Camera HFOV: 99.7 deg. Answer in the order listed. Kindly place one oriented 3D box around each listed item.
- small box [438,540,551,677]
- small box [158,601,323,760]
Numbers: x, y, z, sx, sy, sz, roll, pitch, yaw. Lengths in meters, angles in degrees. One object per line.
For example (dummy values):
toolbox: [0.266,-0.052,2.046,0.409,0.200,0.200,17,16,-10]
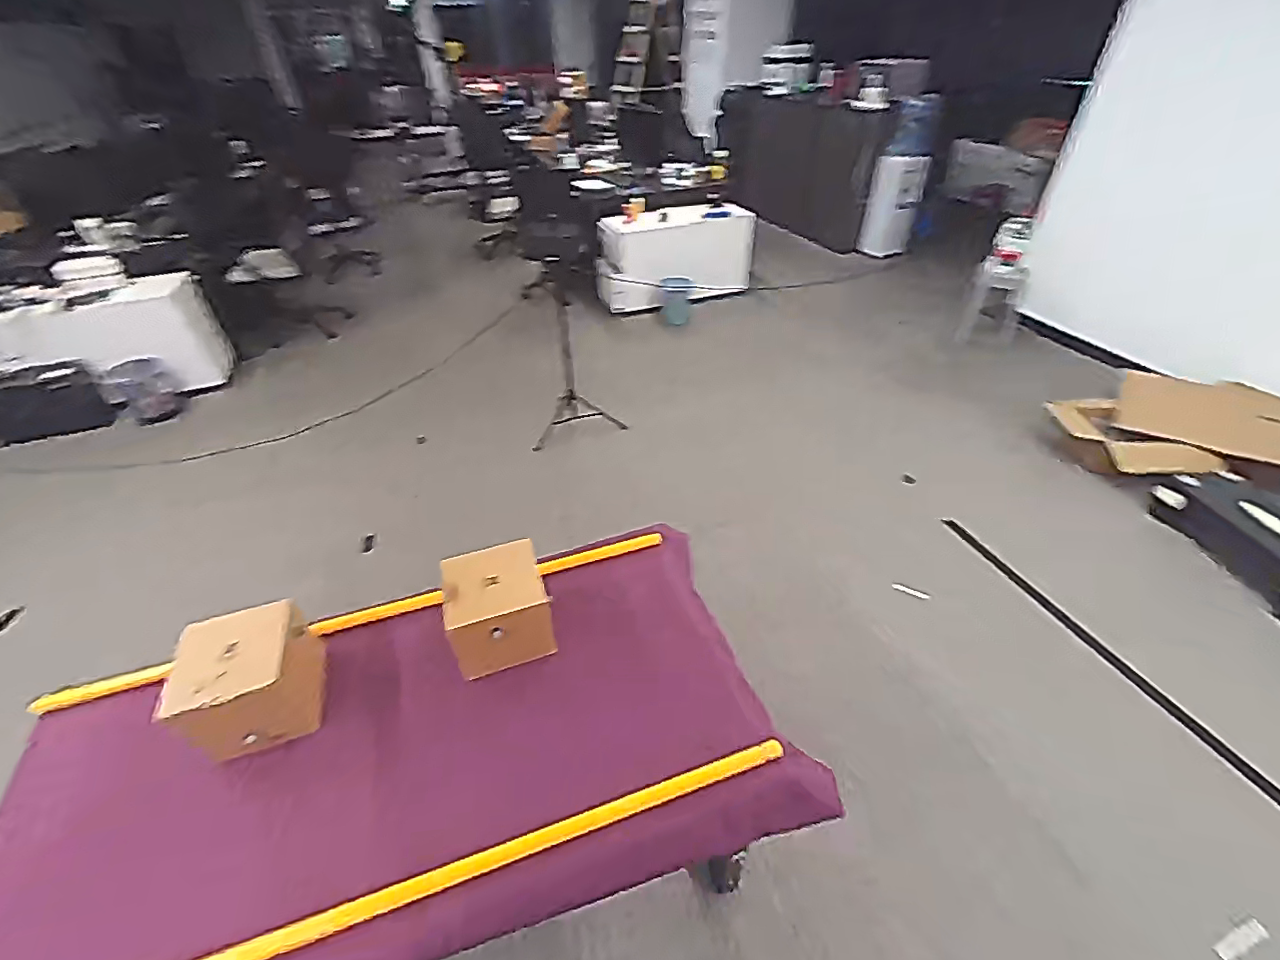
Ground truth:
small box: [-0.276,0.249,1.046,0.179,0.176,0.168,-15,43,-14]
small box: [-0.673,0.347,0.940,0.168,0.176,0.179,-14,43,-14]
